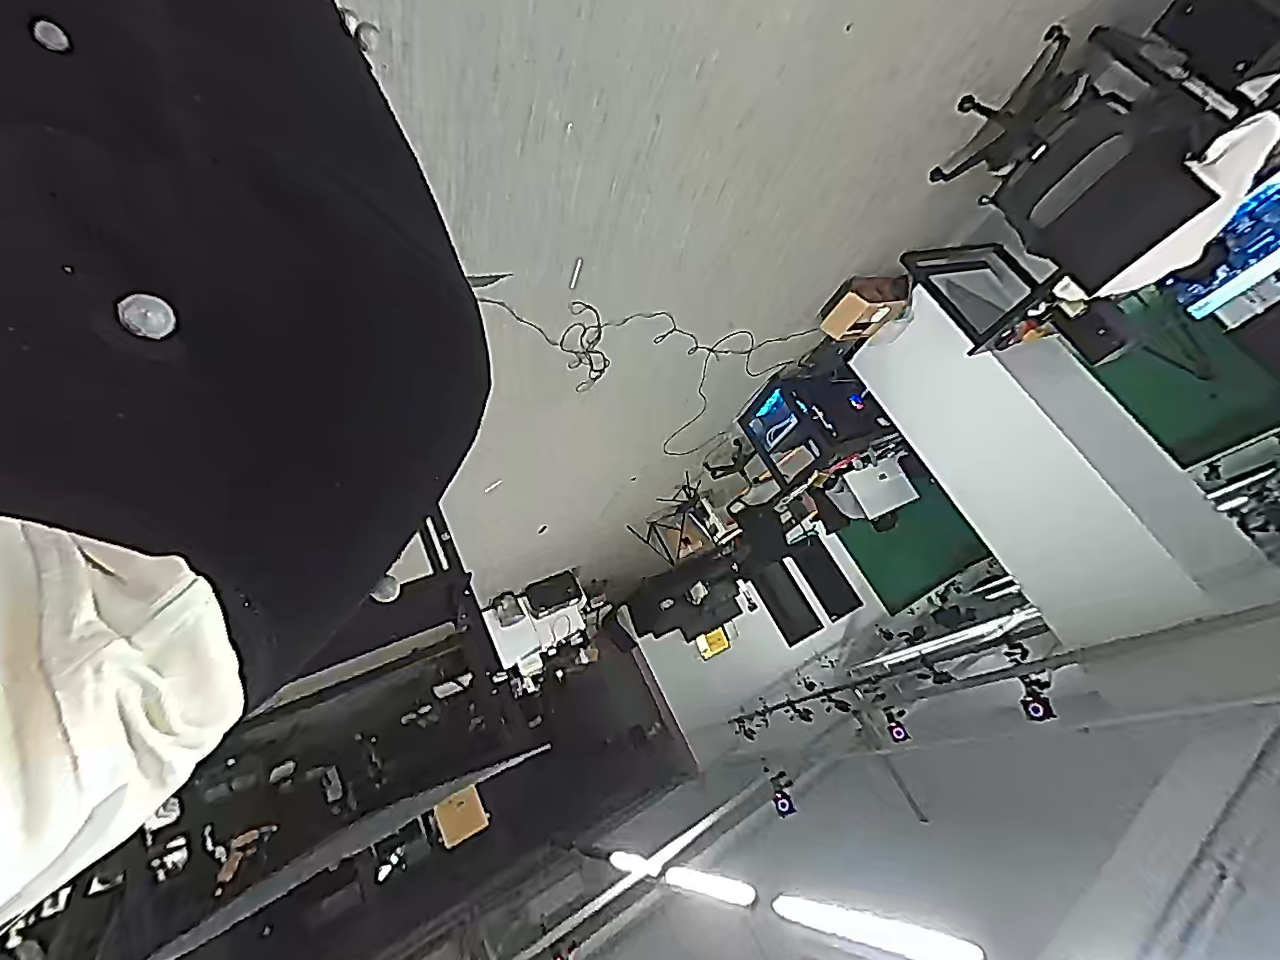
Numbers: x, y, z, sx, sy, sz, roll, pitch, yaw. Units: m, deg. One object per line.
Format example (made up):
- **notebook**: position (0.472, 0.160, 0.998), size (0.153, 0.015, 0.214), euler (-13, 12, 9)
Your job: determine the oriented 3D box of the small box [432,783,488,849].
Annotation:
- **small box**: position (-0.725, 1.345, 2.172), size (0.168, 0.176, 0.179), euler (-19, 157, -28)
